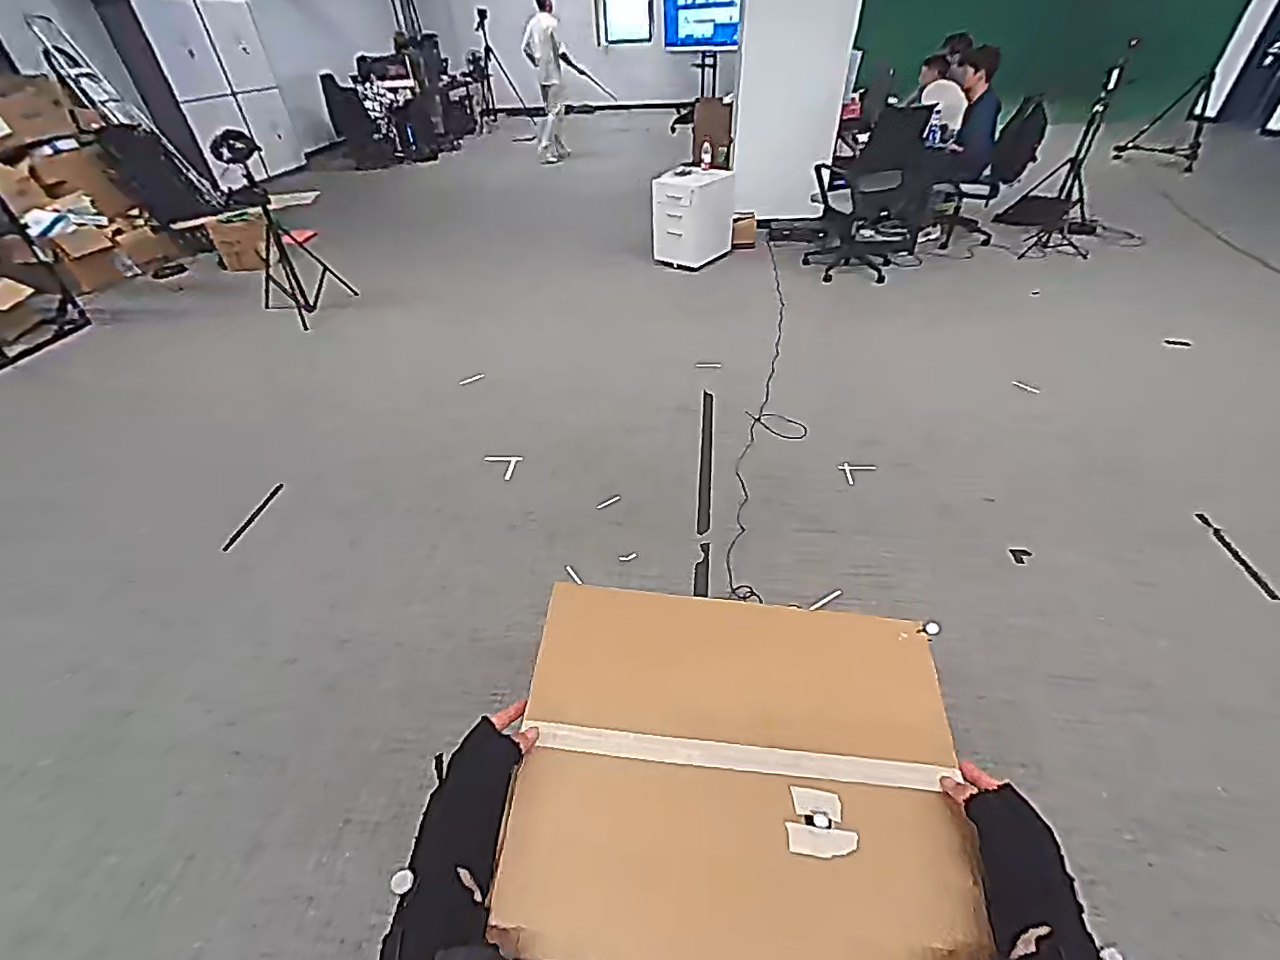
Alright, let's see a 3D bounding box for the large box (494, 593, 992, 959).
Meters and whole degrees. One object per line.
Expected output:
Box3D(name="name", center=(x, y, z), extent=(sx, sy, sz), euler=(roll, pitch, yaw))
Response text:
Box3D(name="large box", center=(0.086, 0.357, 0.626), extent=(0.408, 0.320, 0.320), euler=(6, 52, 2))
